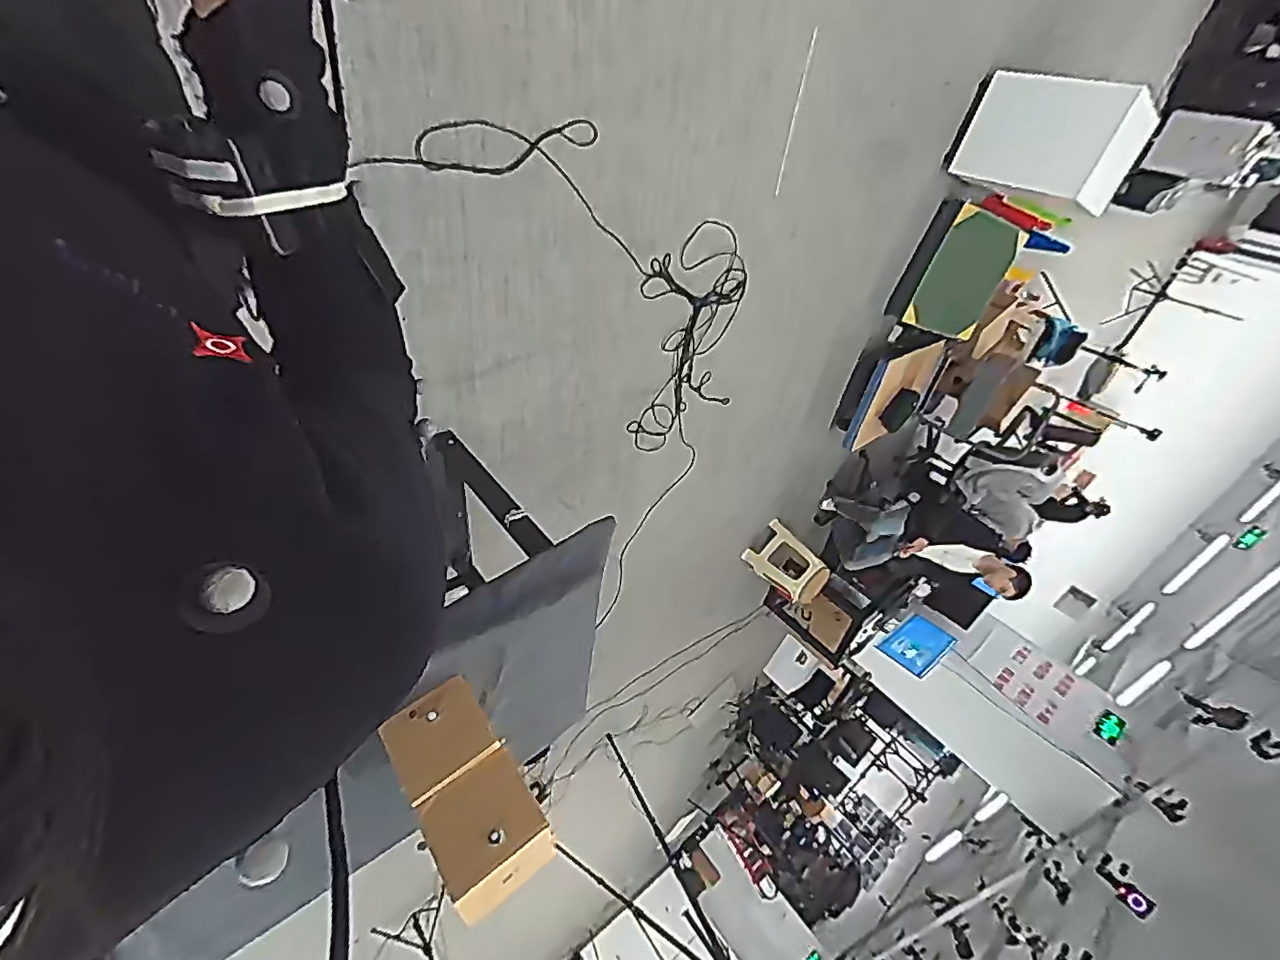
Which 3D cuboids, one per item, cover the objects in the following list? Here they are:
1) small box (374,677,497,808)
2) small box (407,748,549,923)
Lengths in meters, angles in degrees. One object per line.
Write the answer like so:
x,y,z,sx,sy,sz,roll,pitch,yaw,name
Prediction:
-0.378,0.516,1.036,0.168,0.176,0.179,-29,141,-27,small box
-0.281,0.617,0.953,0.179,0.176,0.168,-26,138,-30,small box
